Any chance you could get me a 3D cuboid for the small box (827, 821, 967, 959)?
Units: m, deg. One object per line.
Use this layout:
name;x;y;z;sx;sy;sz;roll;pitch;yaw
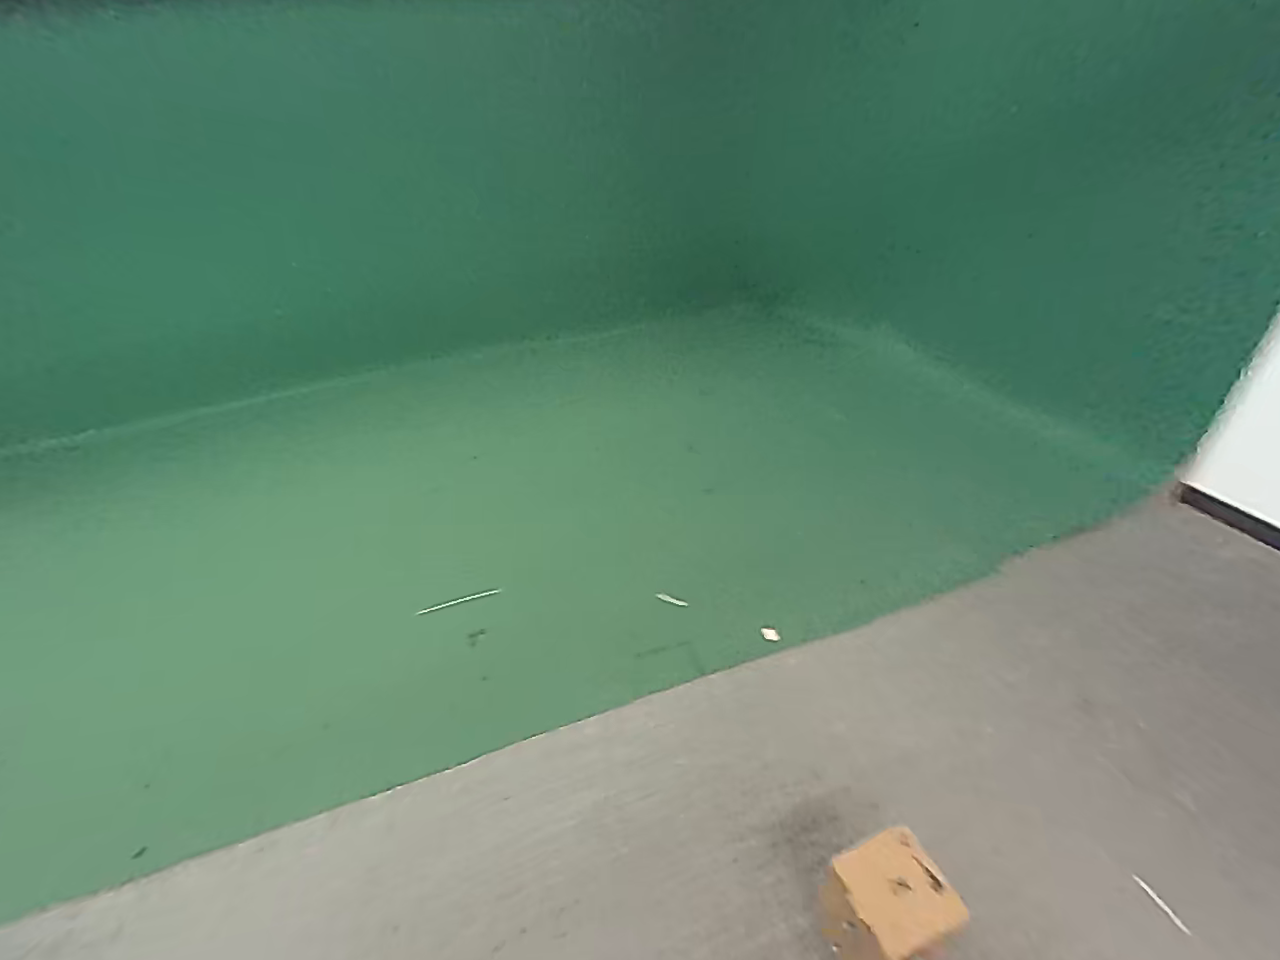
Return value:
small box;0.475;0.804;1.032;0.179;0.176;0.168;-16;37;-13
